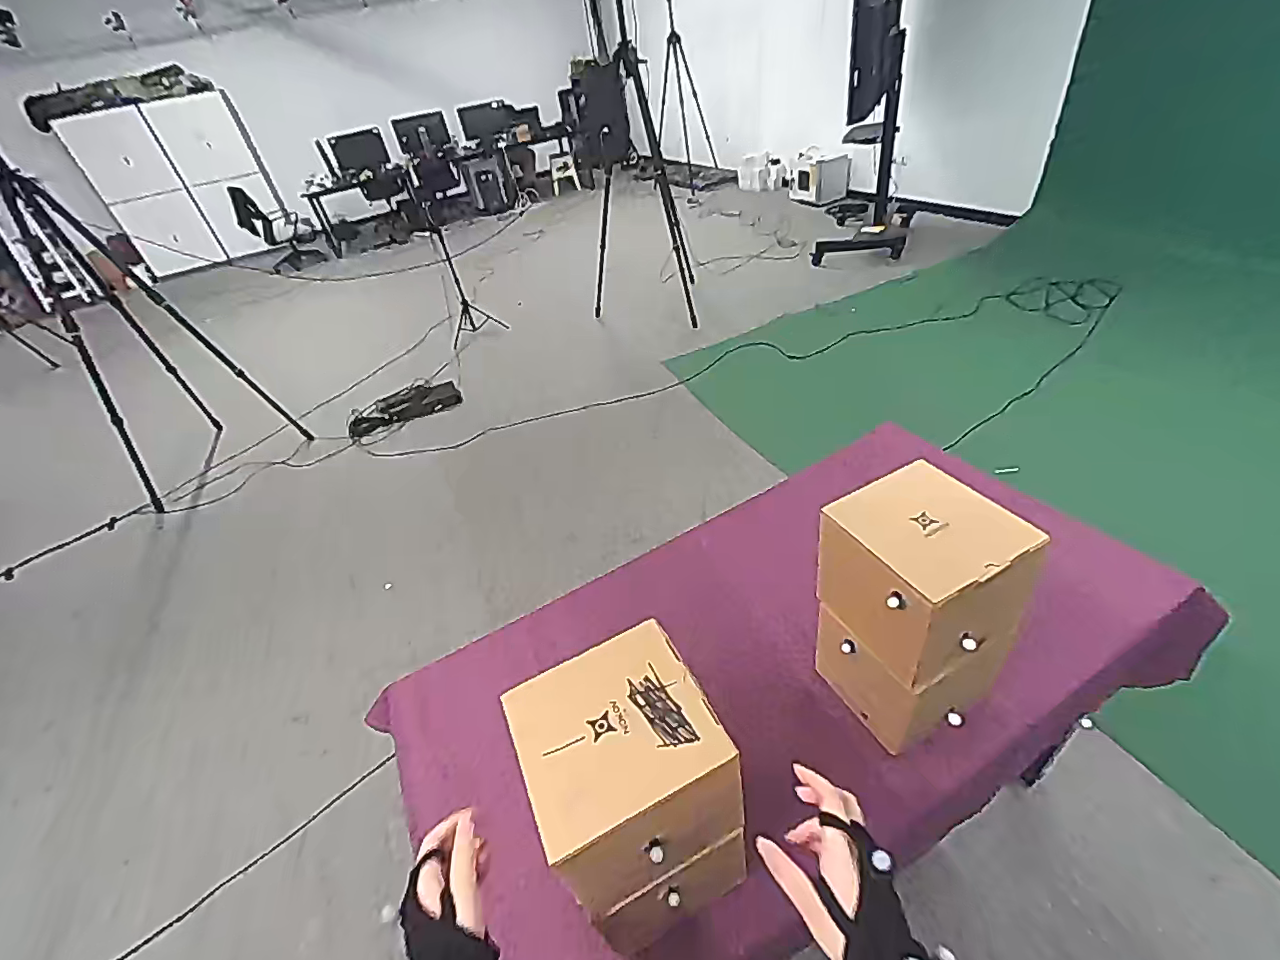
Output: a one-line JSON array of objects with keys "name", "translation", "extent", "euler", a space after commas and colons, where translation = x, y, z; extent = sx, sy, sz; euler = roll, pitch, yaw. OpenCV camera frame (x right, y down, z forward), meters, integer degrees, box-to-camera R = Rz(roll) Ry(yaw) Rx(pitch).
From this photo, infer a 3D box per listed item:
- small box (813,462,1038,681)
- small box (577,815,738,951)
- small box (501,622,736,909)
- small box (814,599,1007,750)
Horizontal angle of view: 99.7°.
[{"name": "small box", "translation": [0.336, 0.112, 0.678], "extent": [0.168, 0.176, 0.179], "euler": [-24, 41, -14]}, {"name": "small box", "translation": [0.005, 0.416, 0.651], "extent": [0.179, 0.176, 0.168], "euler": [-23, 40, -14]}, {"name": "small box", "translation": [-0.018, 0.287, 0.552], "extent": [0.179, 0.176, 0.168], "euler": [-24, 41, -14]}, {"name": "small box", "translation": [0.368, 0.242, 0.772], "extent": [0.179, 0.176, 0.168], "euler": [-23, 39, -15]}]
